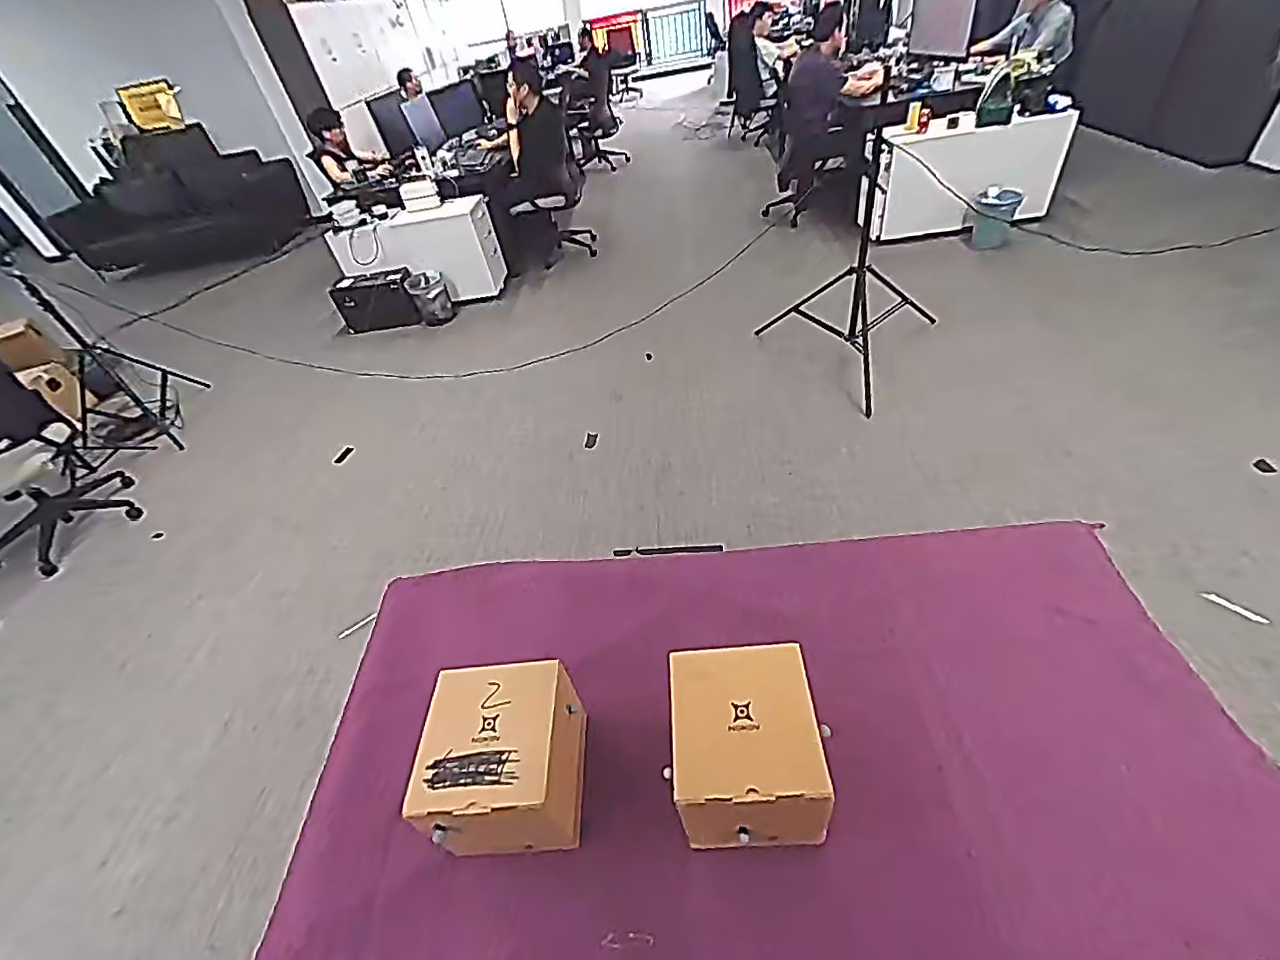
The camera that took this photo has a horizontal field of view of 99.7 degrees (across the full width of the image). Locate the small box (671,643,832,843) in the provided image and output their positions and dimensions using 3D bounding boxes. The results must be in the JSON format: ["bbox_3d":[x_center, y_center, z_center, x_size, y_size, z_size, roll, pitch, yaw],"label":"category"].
[{"bbox_3d":[0.129,0.329,0.677,0.168,0.176,0.179,-6,43,6],"label":"small box"}]
